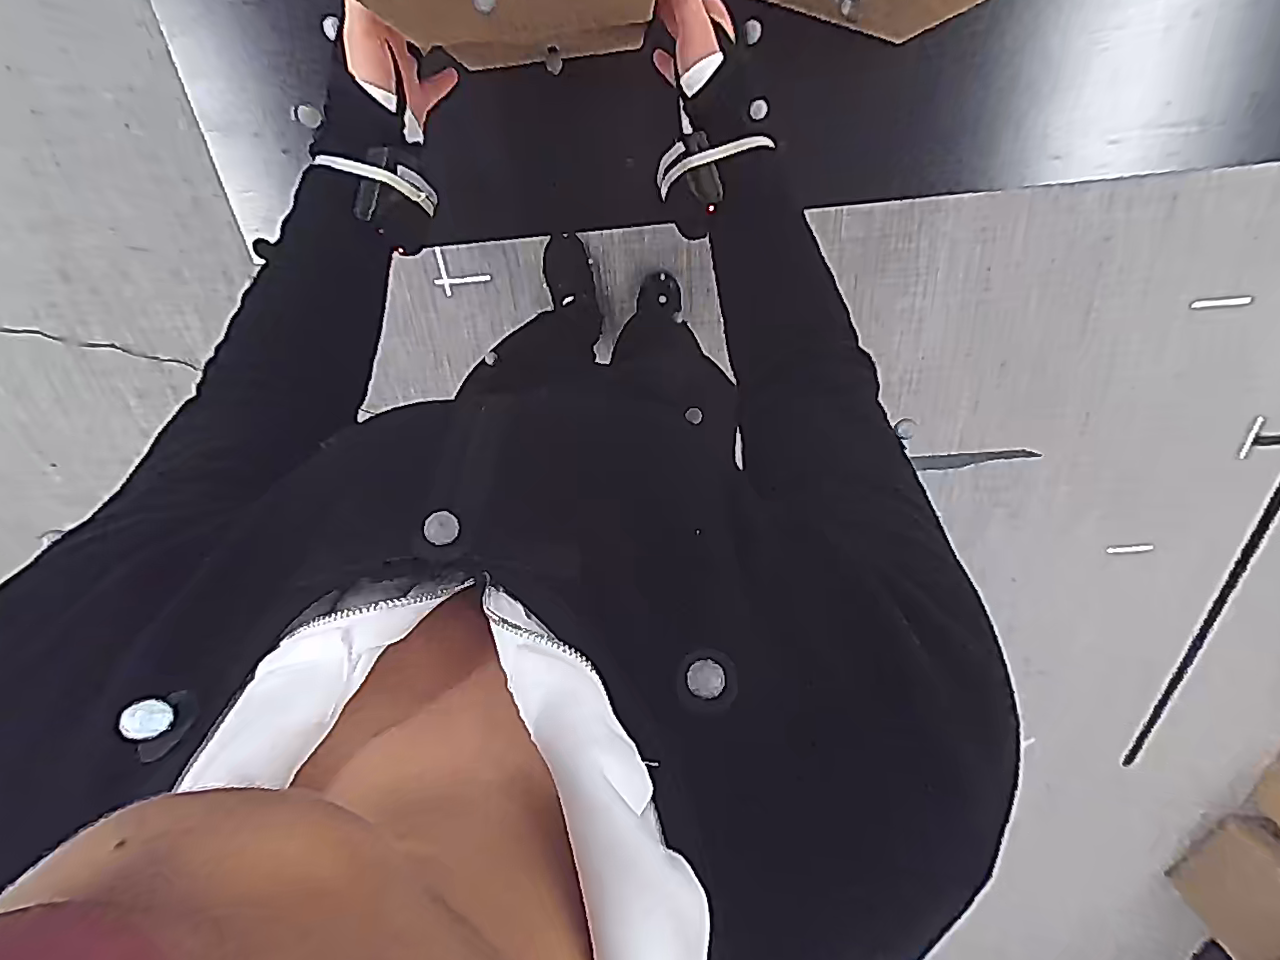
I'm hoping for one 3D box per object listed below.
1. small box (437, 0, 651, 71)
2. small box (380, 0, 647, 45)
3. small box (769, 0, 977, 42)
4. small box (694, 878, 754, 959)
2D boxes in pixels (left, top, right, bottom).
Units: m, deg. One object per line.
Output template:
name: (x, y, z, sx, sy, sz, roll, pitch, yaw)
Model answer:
small box: (-0.091, -0.454, 0.436, 0.179, 0.176, 0.168, -7, 118, 0)
small box: (-0.083, -0.365, 0.297, 0.179, 0.176, 0.168, -6, 119, 0)
small box: (0.200, -0.491, 0.431, 0.168, 0.176, 0.179, 10, 117, -9)
small box: (0.270, 1.439, 1.757, 0.168, 0.176, 0.179, -7, 114, -1)
